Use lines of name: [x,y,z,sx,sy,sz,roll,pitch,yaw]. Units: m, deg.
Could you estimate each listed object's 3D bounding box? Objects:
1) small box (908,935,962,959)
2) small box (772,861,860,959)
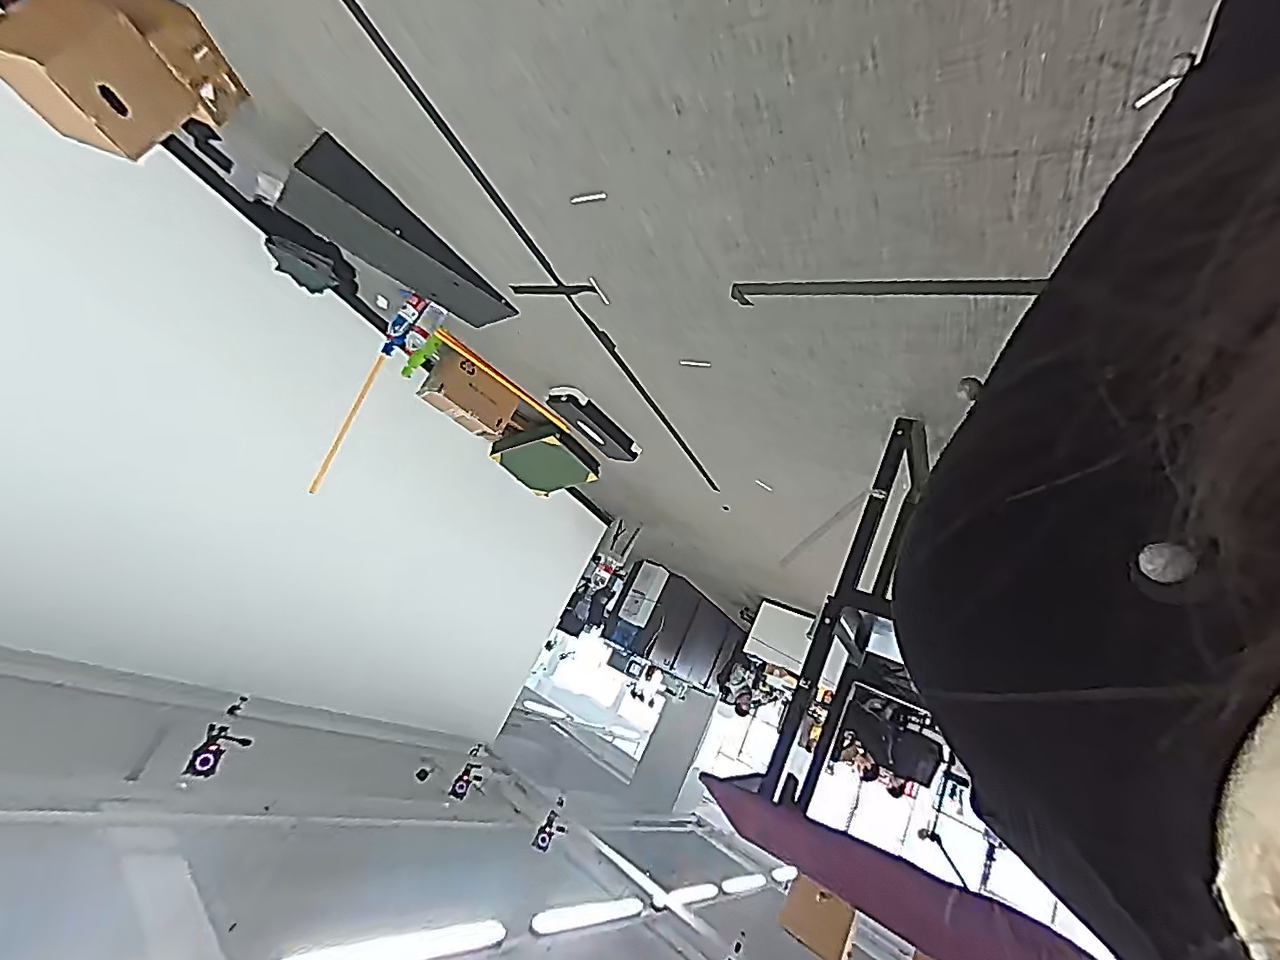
small box: [0.761,1.287,1.349,0.179,0.176,0.168,12,158,41]
small box: [0.500,1.214,1.526,0.179,0.176,0.168,15,160,36]
